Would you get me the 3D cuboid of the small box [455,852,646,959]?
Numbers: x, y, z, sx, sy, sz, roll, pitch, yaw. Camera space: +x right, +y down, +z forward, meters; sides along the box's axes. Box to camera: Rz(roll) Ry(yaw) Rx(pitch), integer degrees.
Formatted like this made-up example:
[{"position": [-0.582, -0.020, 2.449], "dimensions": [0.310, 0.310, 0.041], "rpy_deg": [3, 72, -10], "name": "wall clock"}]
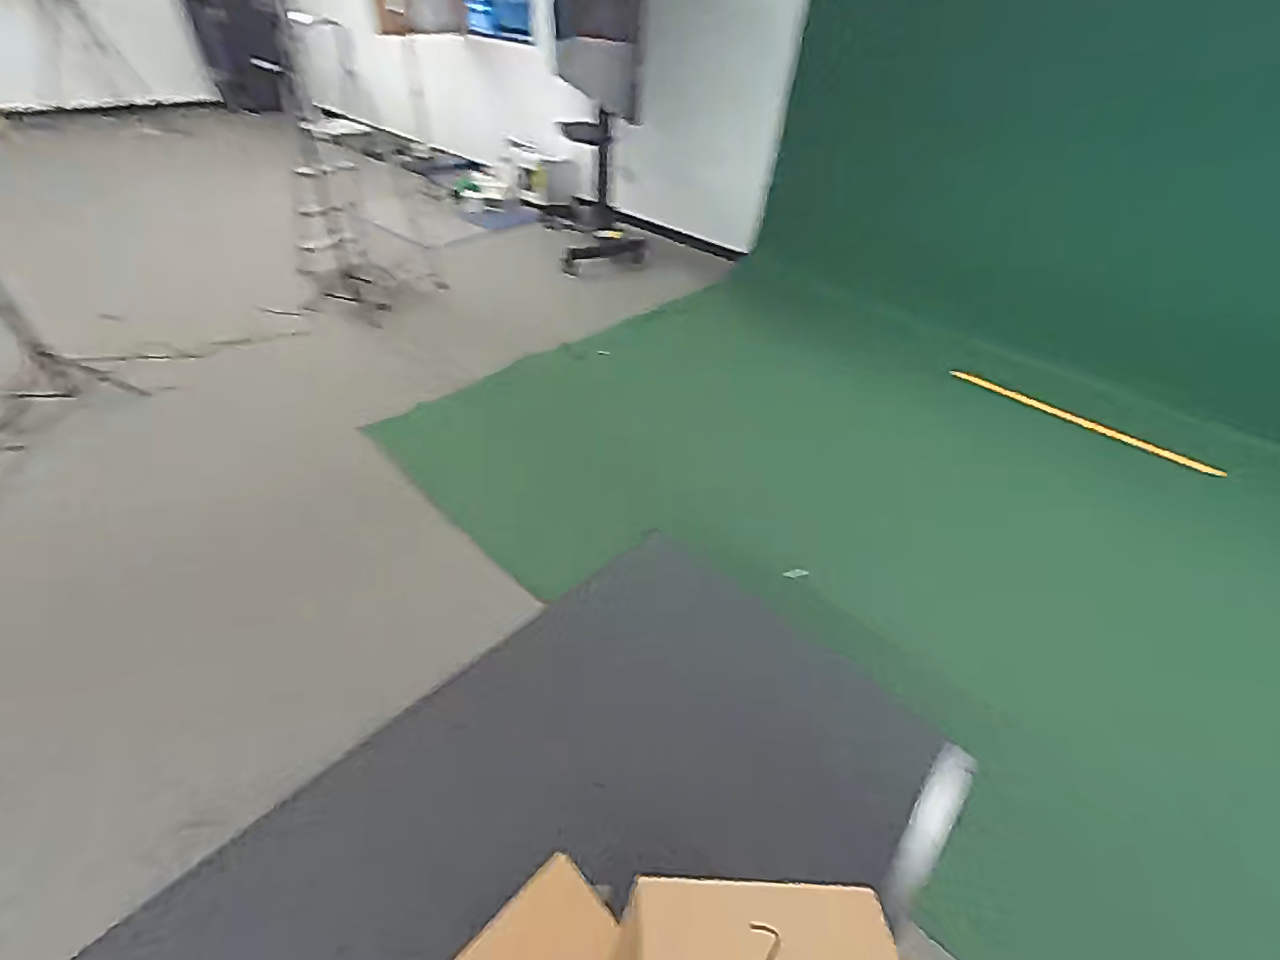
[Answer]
[{"position": [-0.074, 0.479, 0.463], "dimensions": [0.179, 0.176, 0.168], "rpy_deg": [35, 50, 29], "name": "small box"}]
